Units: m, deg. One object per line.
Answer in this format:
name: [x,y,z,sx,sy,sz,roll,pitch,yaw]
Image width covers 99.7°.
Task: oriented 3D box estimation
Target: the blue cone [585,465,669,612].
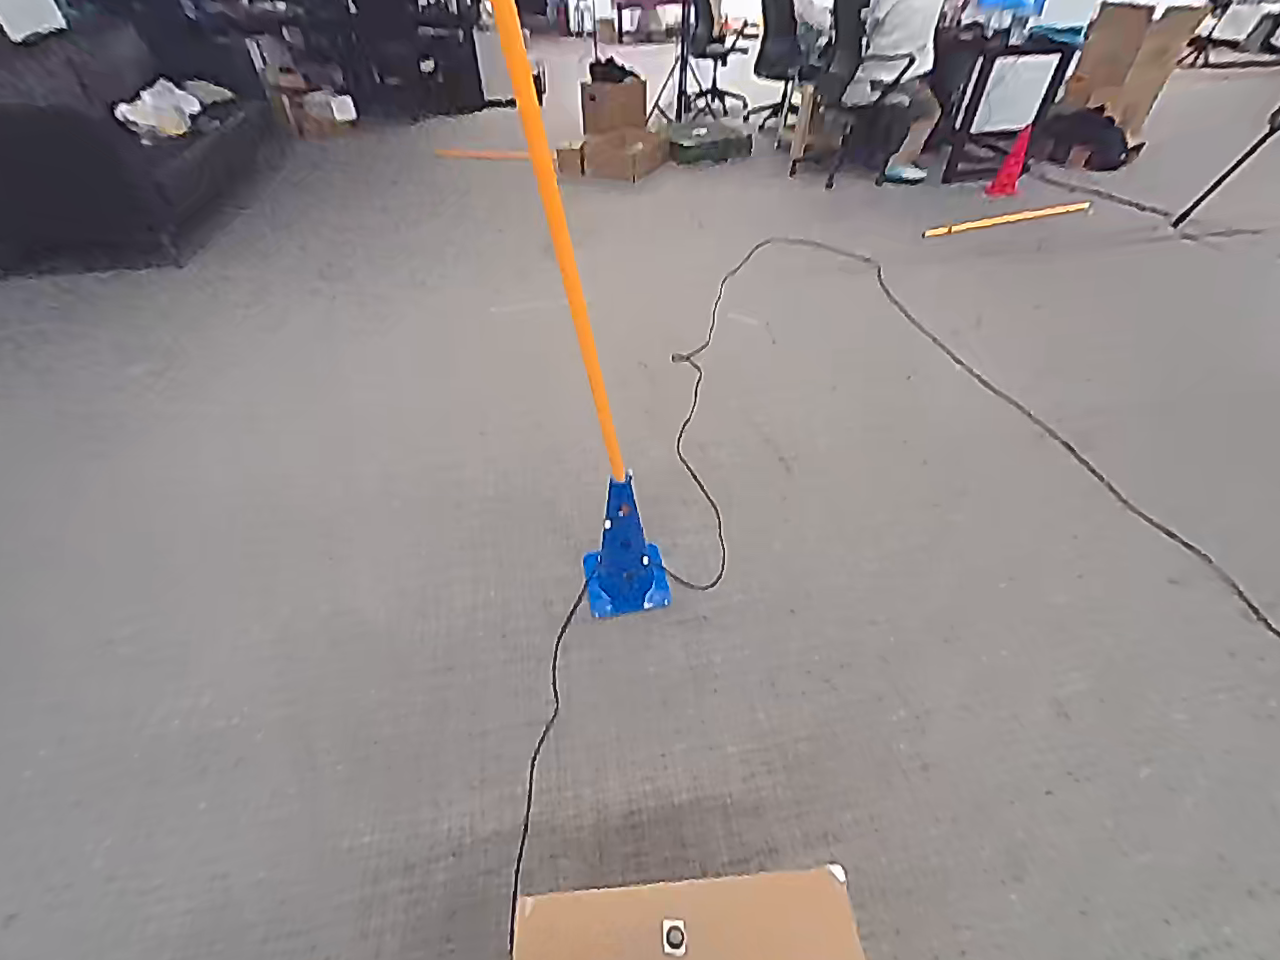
blue cone: [-0.039,0.120,1.235,0.193,0.380,0.192,-11,45,-8]
